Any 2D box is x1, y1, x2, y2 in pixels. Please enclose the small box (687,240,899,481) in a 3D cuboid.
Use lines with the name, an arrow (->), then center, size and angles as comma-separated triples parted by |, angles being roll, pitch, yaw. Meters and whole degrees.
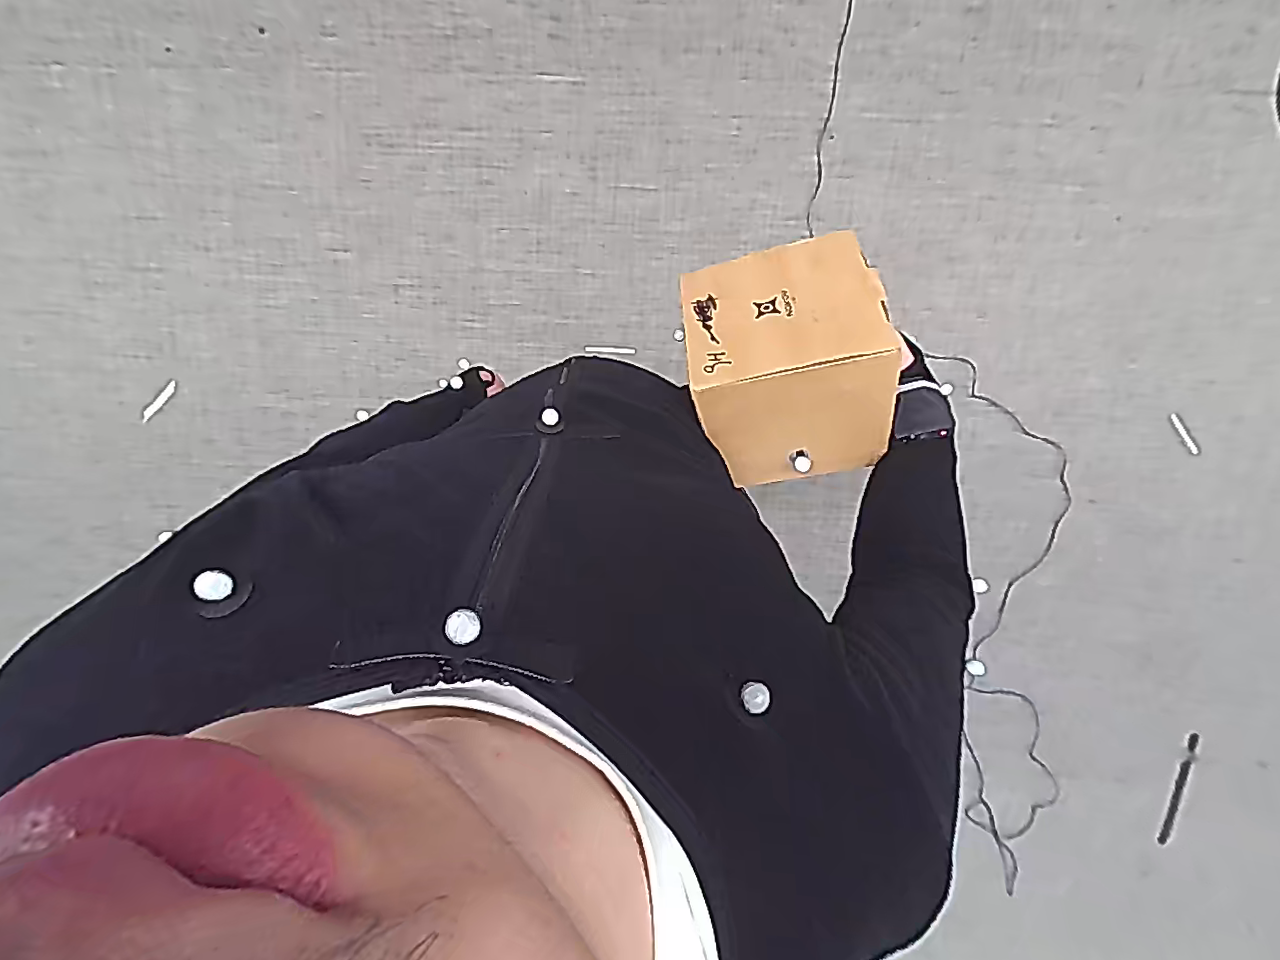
small box -> 0.155, -0.118, 0.580 | 0.179, 0.168, 0.176 | -10, 144, 13
